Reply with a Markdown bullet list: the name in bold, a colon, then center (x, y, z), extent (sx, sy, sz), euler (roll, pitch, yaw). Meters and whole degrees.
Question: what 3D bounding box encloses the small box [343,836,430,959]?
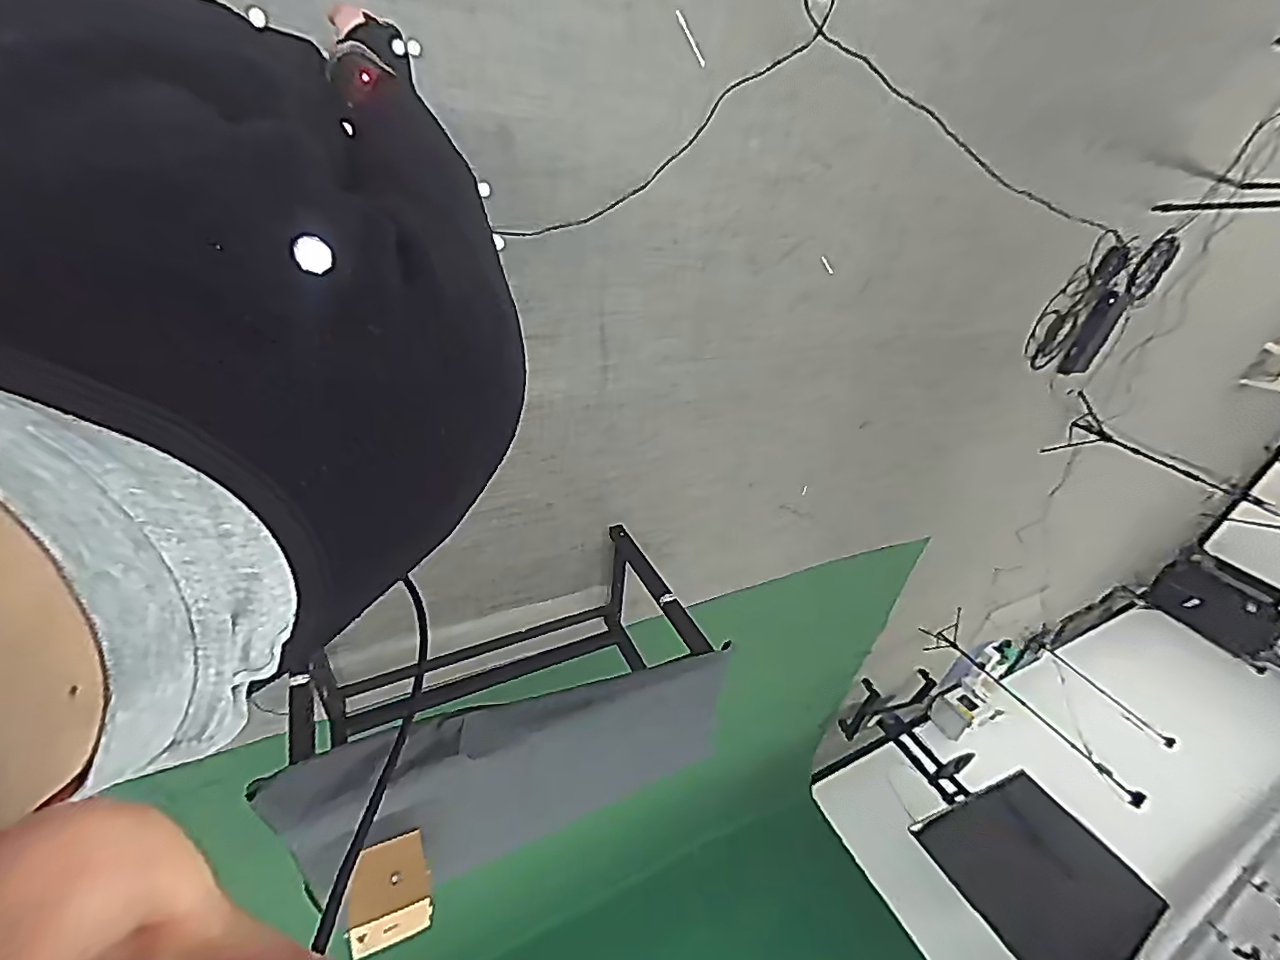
- **small box**: center (-0.639, 1.044, 1.361), extent (0.179, 0.176, 0.168), euler (-6, 124, -30)
